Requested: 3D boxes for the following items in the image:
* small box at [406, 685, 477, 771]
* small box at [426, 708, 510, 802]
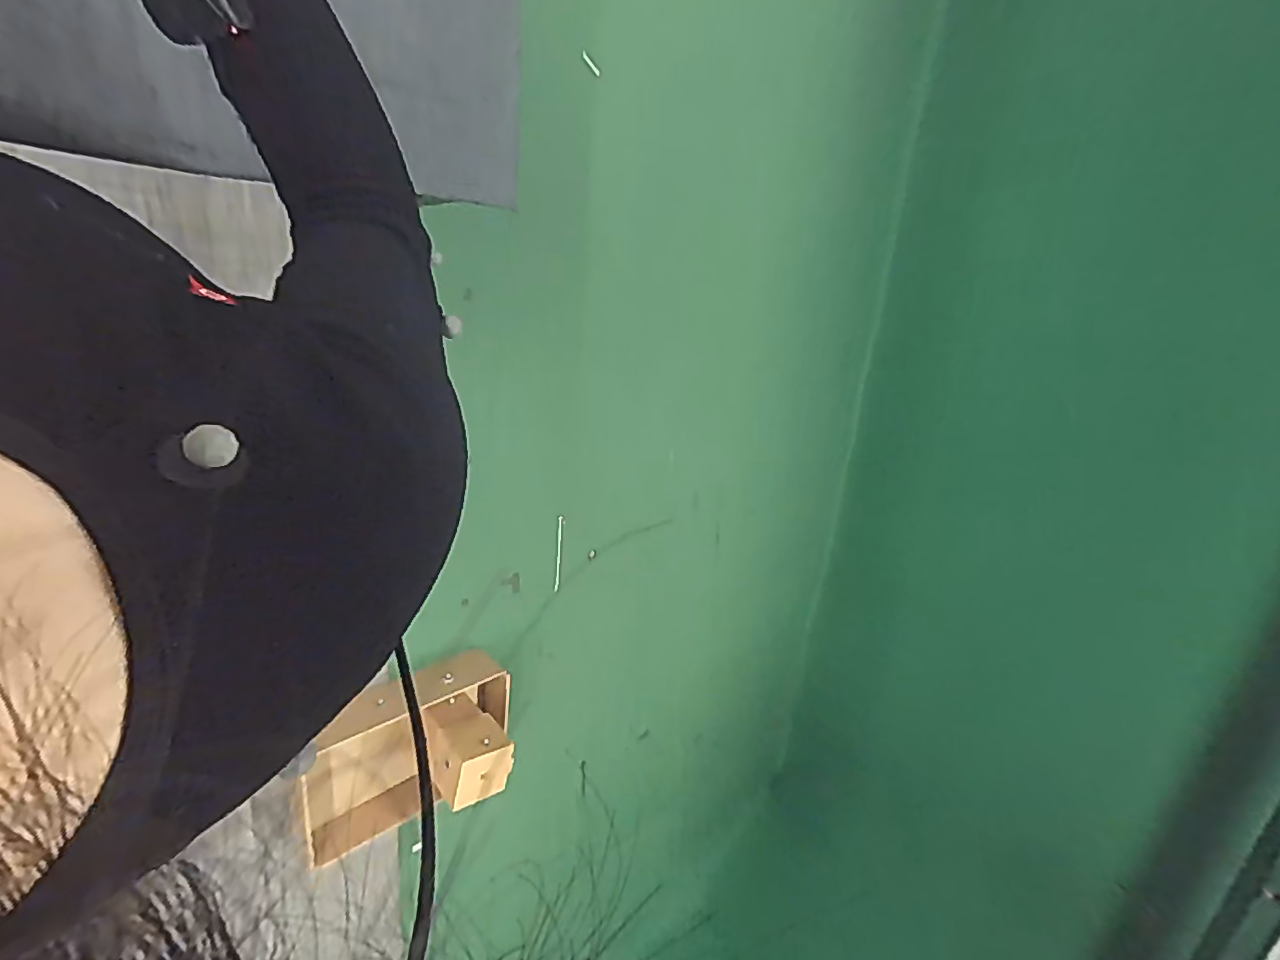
[{"bbox_3d":[-0.645,0.805,1.771,0.168,0.176,0.179,10,99,-48],"label":"small box"},{"bbox_3d":[-0.531,0.832,1.655,0.179,0.176,0.168,3,105,-47],"label":"small box"}]
